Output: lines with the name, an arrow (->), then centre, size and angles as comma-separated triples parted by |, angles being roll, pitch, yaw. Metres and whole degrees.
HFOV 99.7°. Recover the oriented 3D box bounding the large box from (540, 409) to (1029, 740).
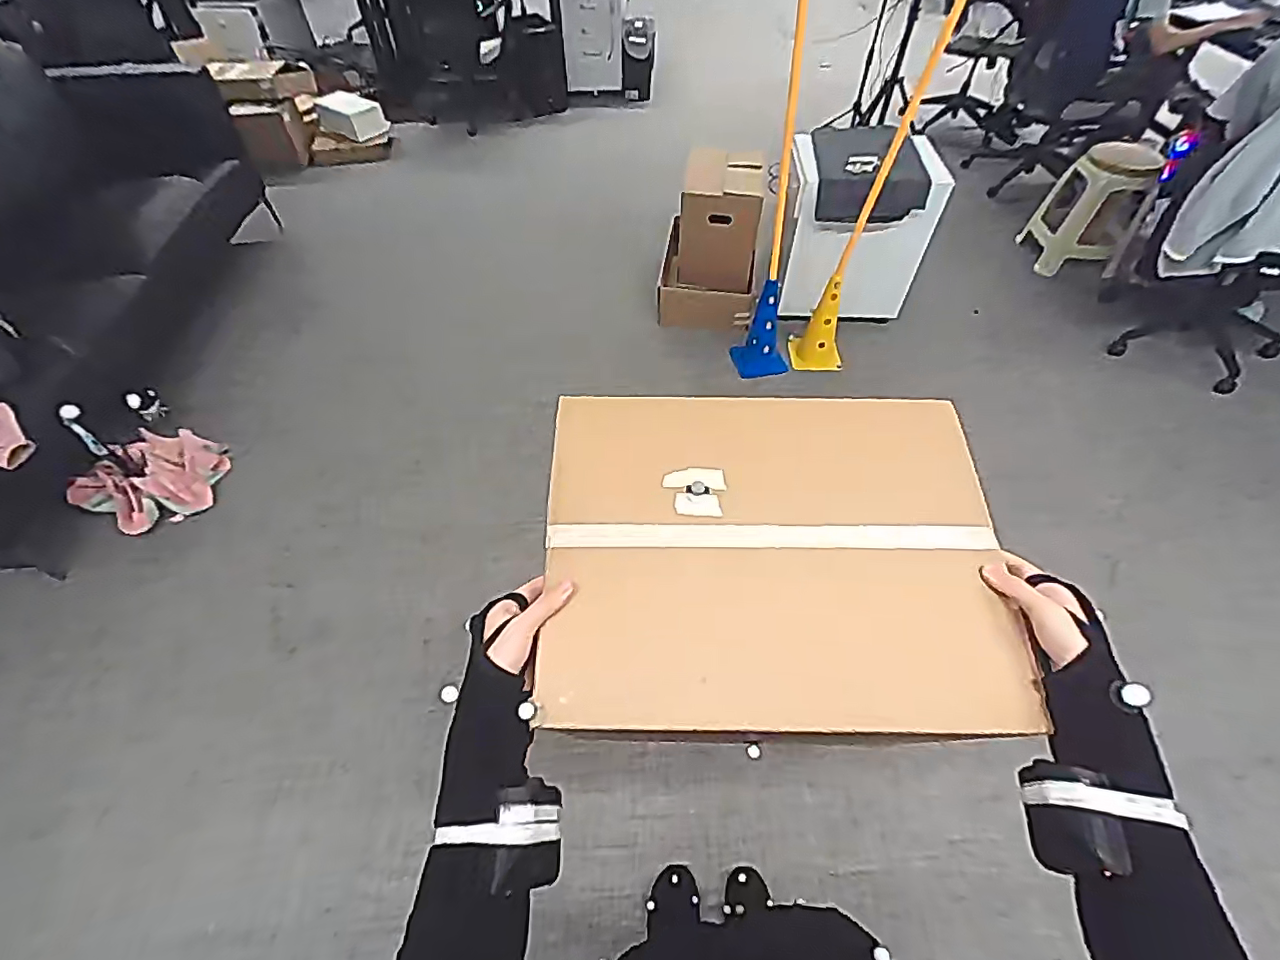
large box -> 0.120, 0.132, 0.635 | 0.408, 0.320, 0.320 | 0, 62, 1
